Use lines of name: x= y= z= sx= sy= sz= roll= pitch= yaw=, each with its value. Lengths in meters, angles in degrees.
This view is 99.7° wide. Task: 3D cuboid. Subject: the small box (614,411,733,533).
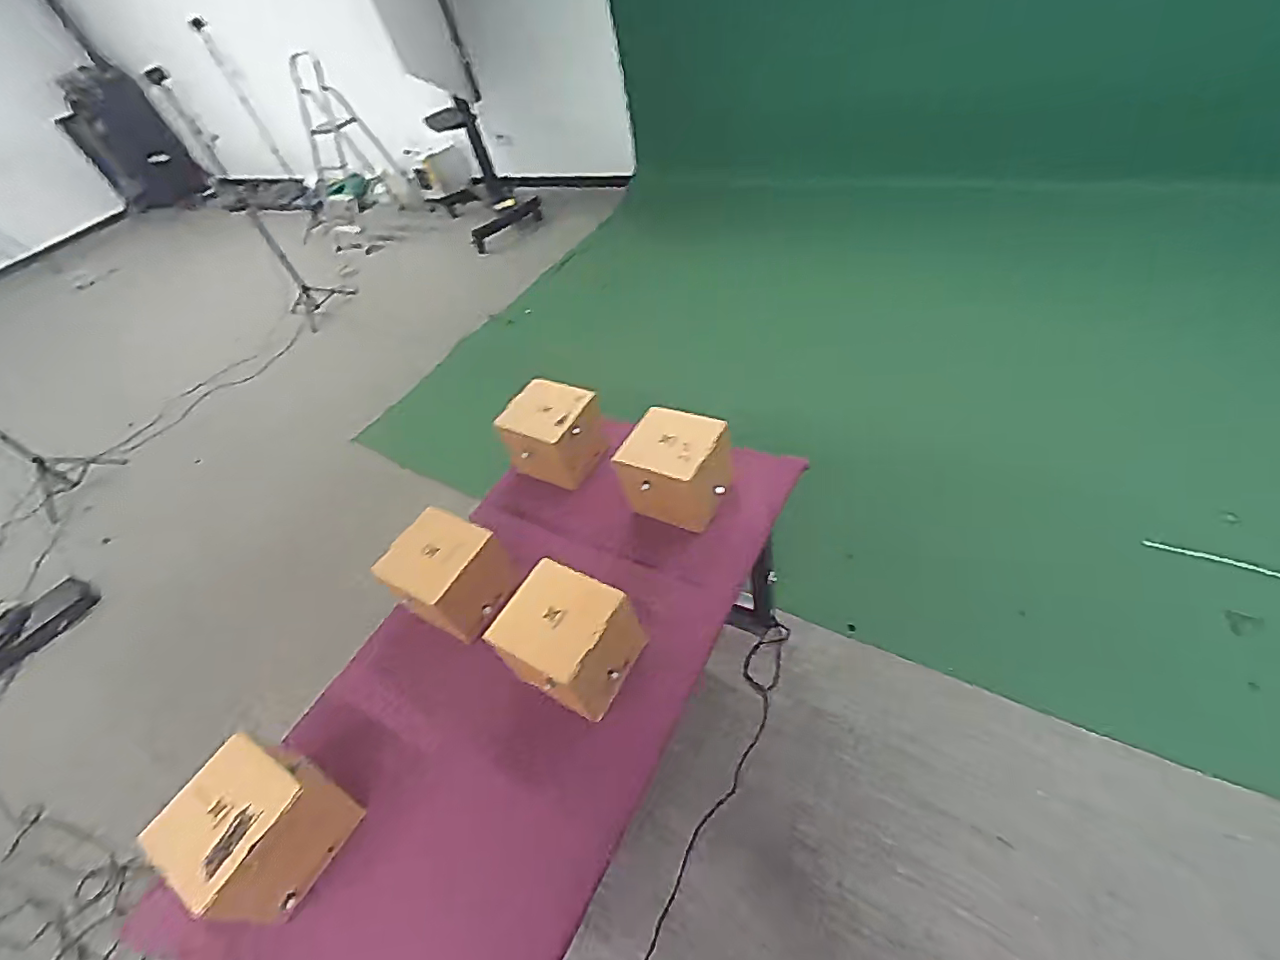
small box: x=0.076 y=-0.015 z=1.122 sx=0.179 sy=0.176 sz=0.168 roll=17 pitch=57 yaw=29

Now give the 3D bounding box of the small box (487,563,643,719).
small box: x=-0.118 y=0.275 z=0.917 sx=0.179 sy=0.176 sz=0.168 roll=17 pitch=55 yaw=29

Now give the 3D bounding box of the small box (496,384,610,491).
small box: x=-0.197 y=-0.098 z=1.271 sx=0.179 sy=0.176 sz=0.168 roll=18 pitch=57 yaw=26

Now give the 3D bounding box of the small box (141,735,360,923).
small box: x=-0.567 y=0.522 z=0.811 sx=0.179 sy=0.176 sz=0.168 roll=18 pitch=55 yaw=27

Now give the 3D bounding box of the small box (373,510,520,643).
small box: x=-0.370 y=0.193 z=1.060 sx=0.179 sy=0.176 sz=0.168 roll=18 pitch=56 yaw=26
